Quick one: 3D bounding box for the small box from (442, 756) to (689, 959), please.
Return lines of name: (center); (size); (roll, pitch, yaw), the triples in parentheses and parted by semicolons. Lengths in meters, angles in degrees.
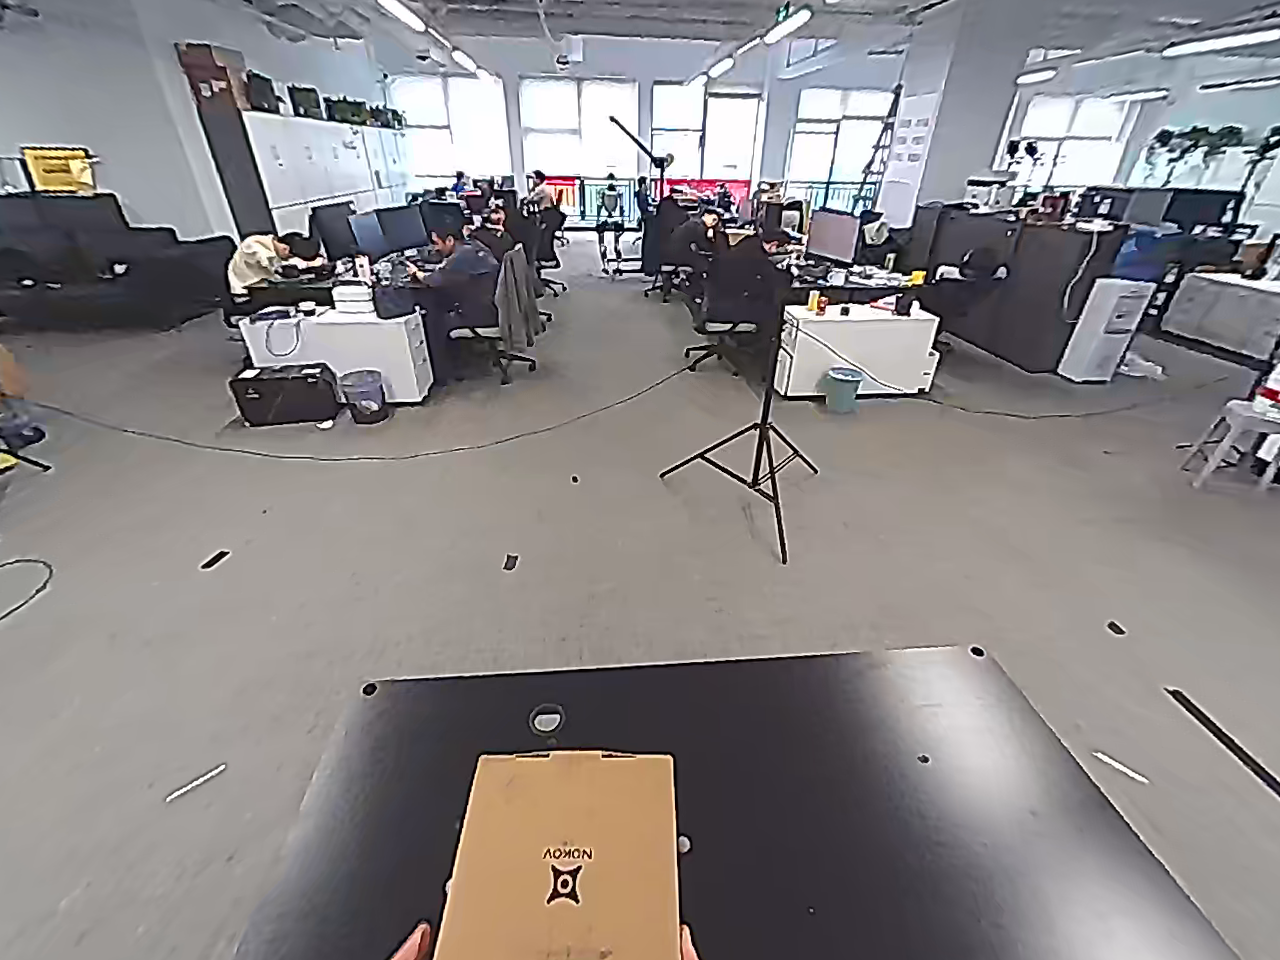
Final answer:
small box: (-0.050, 0.351, 0.439); (0.168, 0.176, 0.179); (0, 39, 0)
